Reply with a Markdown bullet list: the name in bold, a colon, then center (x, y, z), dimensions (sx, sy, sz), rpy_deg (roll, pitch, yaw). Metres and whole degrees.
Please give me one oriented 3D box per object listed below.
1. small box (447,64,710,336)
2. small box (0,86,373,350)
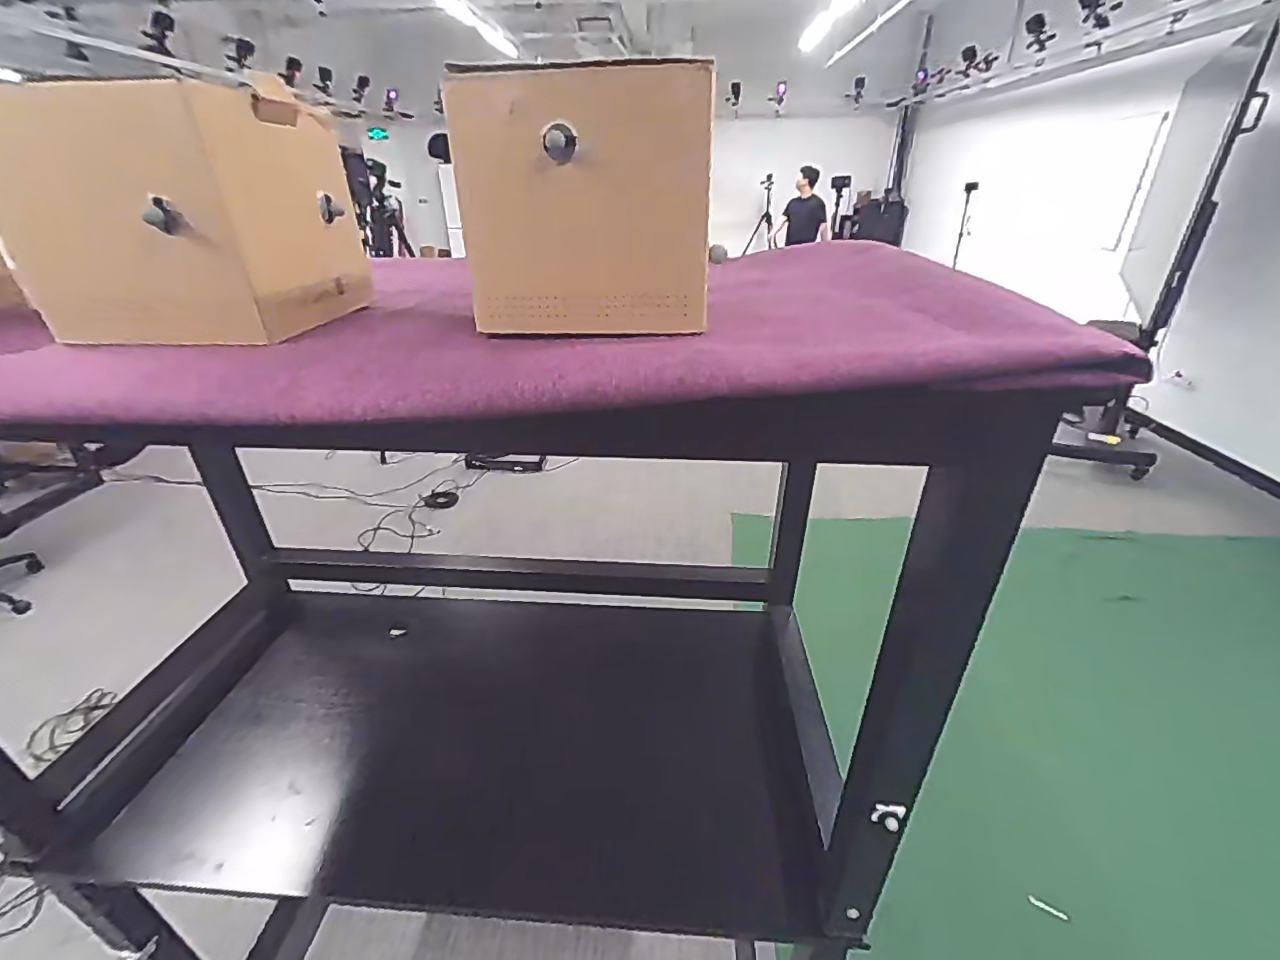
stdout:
- **small box**: center (-0.032, -0.217, 0.449), dimensions (0.179, 0.176, 0.168), rpy_deg (2, 26, 5)
- **small box**: center (-0.355, -0.210, 0.449), dimensions (0.179, 0.176, 0.168), rpy_deg (0, 28, 3)
